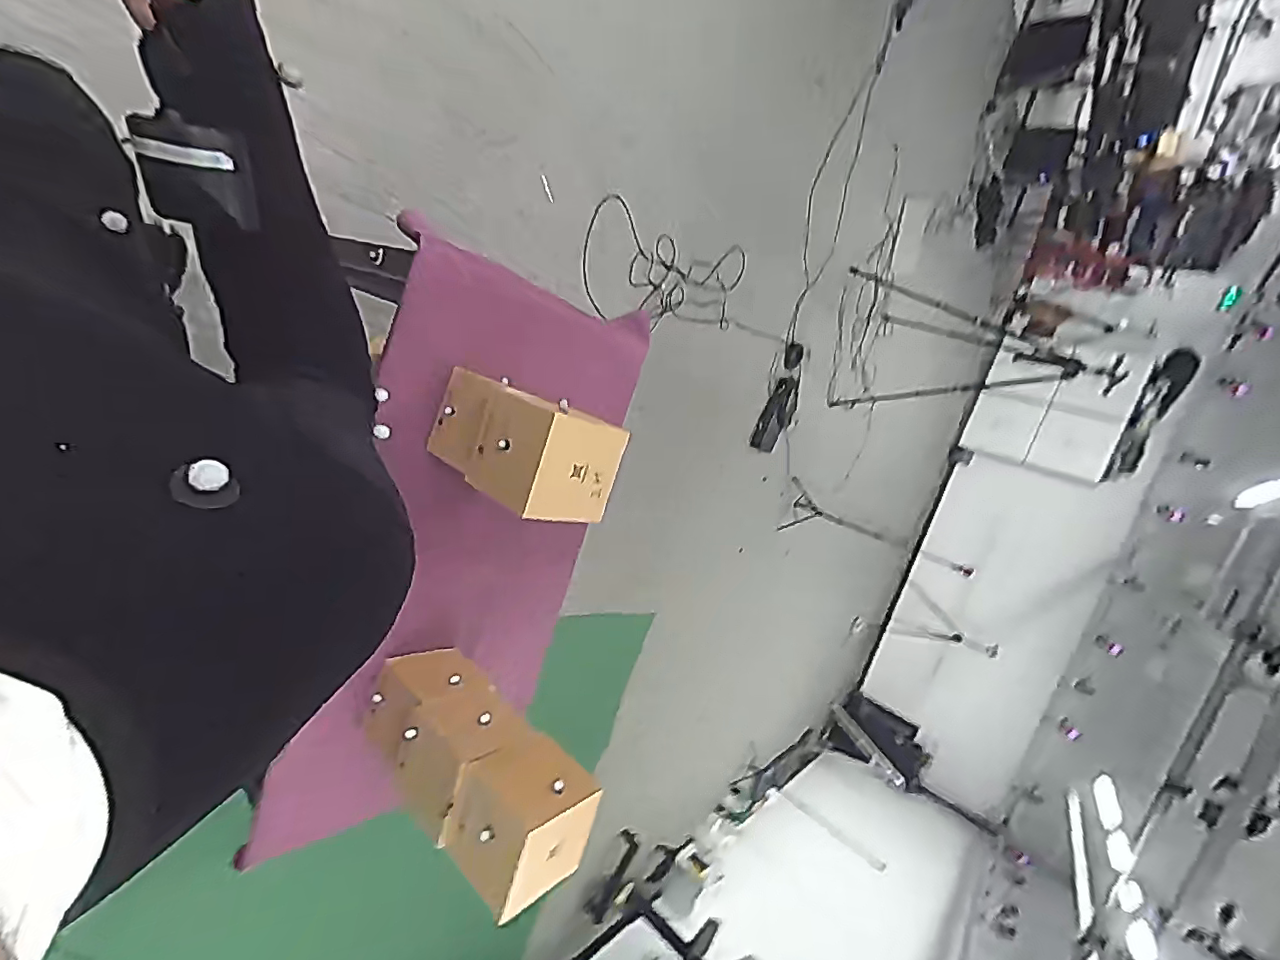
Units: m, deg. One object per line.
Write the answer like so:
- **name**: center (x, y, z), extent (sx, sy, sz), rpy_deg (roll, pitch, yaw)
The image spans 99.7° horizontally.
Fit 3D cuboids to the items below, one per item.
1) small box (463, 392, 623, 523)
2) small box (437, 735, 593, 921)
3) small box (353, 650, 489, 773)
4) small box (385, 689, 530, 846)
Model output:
- **small box**: center (-0.165, -0.039, 0.902), extent (0.179, 0.176, 0.168), rpy_deg (10, 103, -52)
- **small box**: center (-0.215, 0.574, 0.922), extent (0.179, 0.176, 0.168), rpy_deg (7, 103, -55)
- **small box**: center (-0.452, 0.468, 1.118), extent (0.179, 0.176, 0.168), rpy_deg (14, 98, -53)
- **small box**: center (-0.342, 0.519, 1.007), extent (0.179, 0.176, 0.168), rpy_deg (10, 101, -55)
